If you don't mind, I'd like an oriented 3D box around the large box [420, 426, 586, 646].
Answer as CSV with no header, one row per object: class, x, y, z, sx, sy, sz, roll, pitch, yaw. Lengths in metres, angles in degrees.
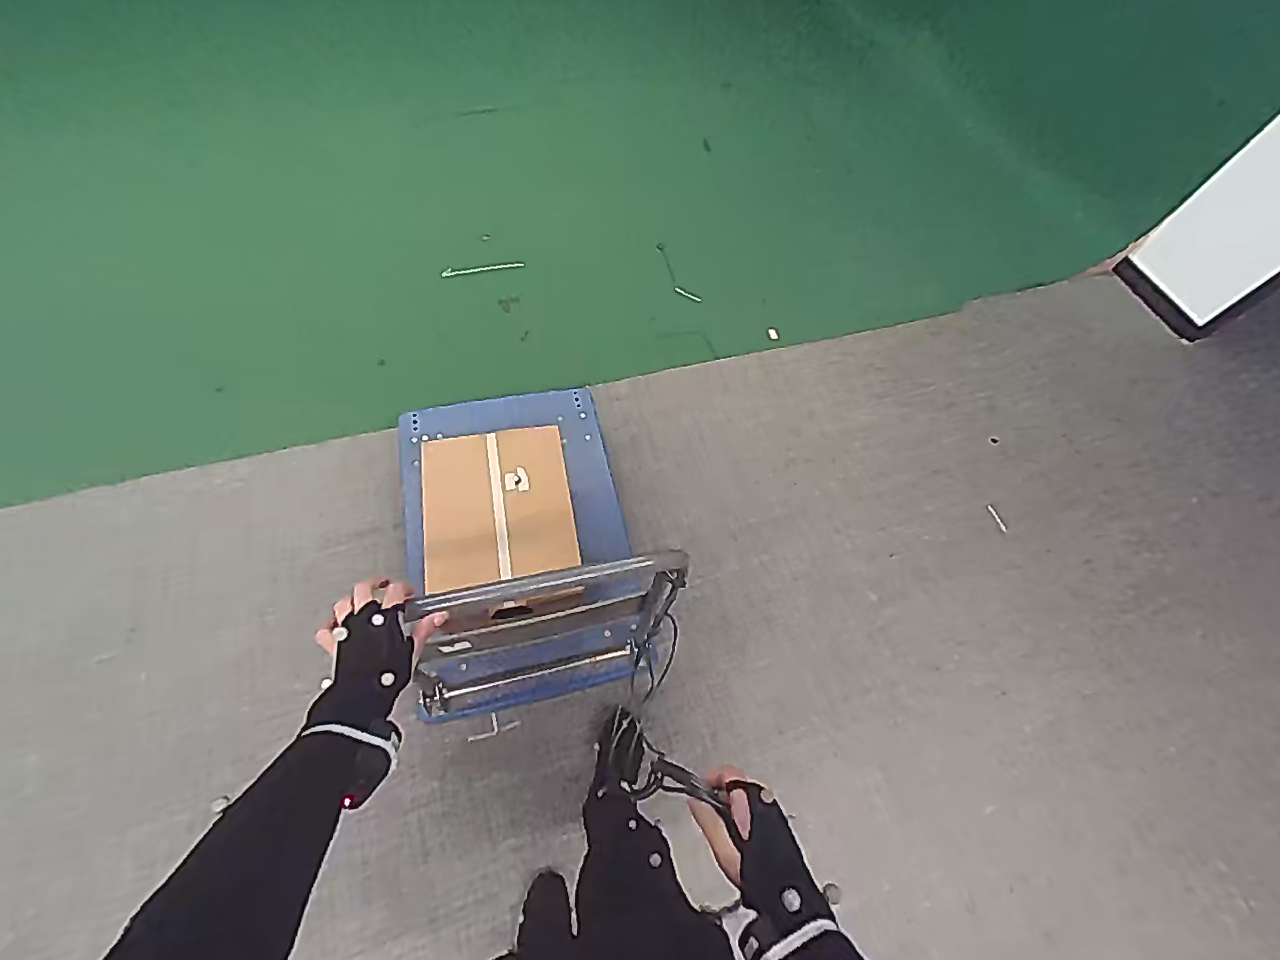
large box,-0.315,0.137,1.281,0.320,0.320,0.408,-8,63,-11
